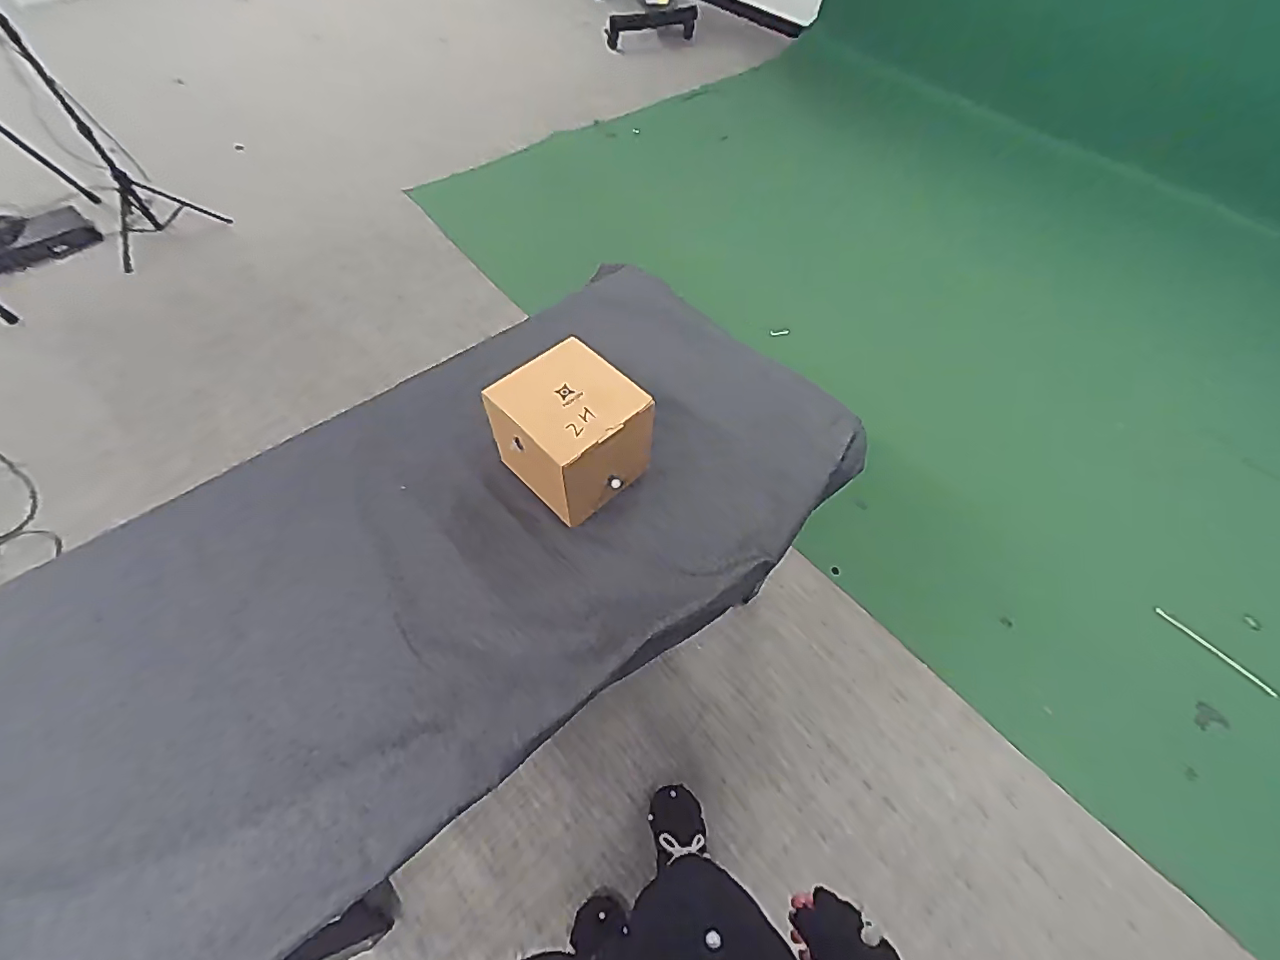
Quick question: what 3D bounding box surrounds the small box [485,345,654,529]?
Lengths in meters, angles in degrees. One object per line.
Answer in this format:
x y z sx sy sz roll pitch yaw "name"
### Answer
-0.101 -0.060 0.805 0.168 0.176 0.179 -38 66 -24 "small box"
